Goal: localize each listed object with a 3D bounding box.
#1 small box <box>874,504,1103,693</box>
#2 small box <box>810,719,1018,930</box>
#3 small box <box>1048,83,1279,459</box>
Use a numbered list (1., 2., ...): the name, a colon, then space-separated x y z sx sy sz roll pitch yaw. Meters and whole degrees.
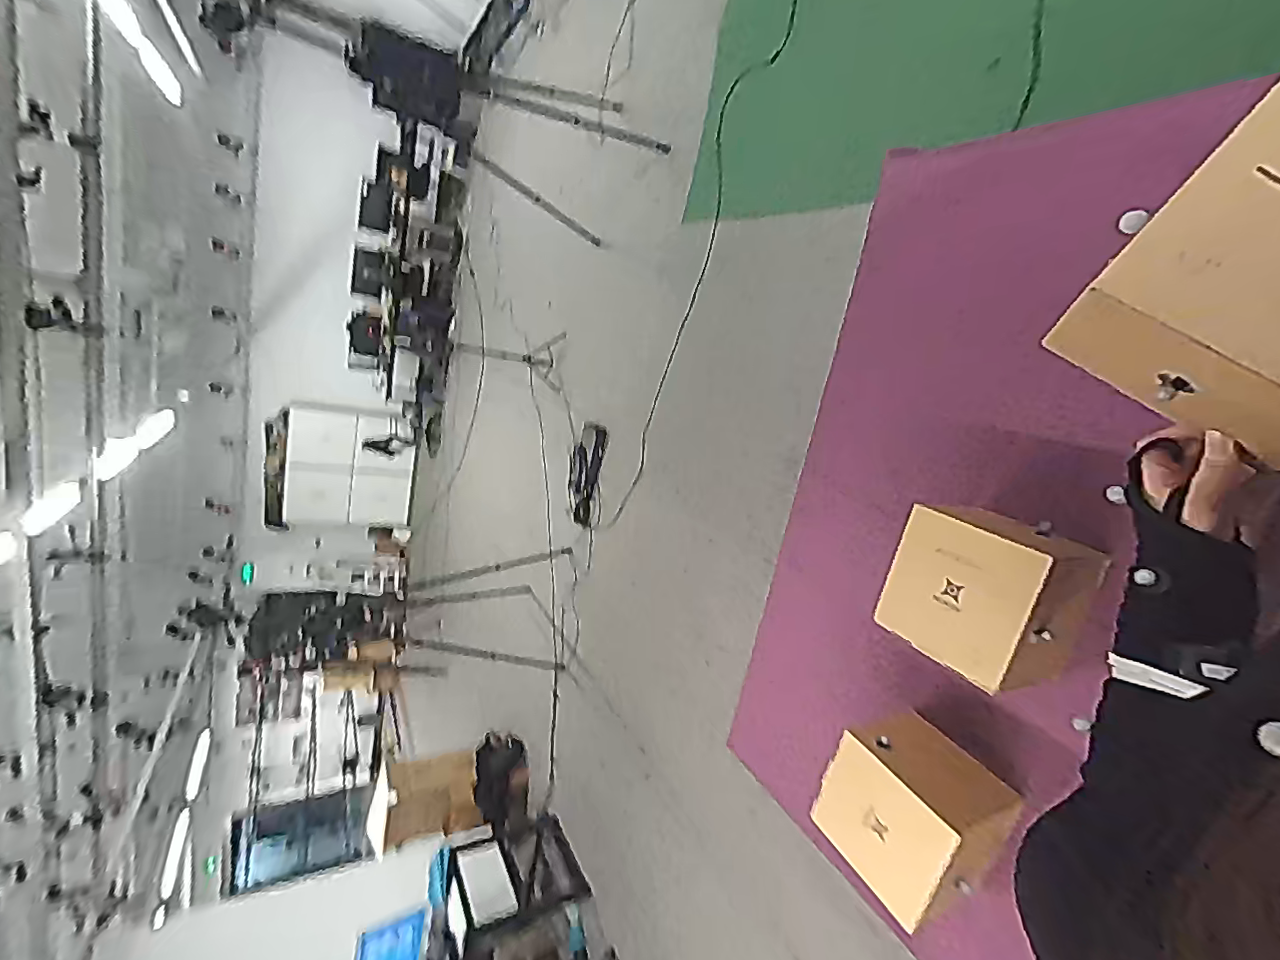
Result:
1. small box: 0.448 0.144 0.701 0.168 0.176 0.179 34 115 55
2. small box: 0.383 0.466 0.764 0.179 0.176 0.168 38 118 55
3. small box: 0.411 -0.124 0.341 0.179 0.176 0.168 45 110 21
